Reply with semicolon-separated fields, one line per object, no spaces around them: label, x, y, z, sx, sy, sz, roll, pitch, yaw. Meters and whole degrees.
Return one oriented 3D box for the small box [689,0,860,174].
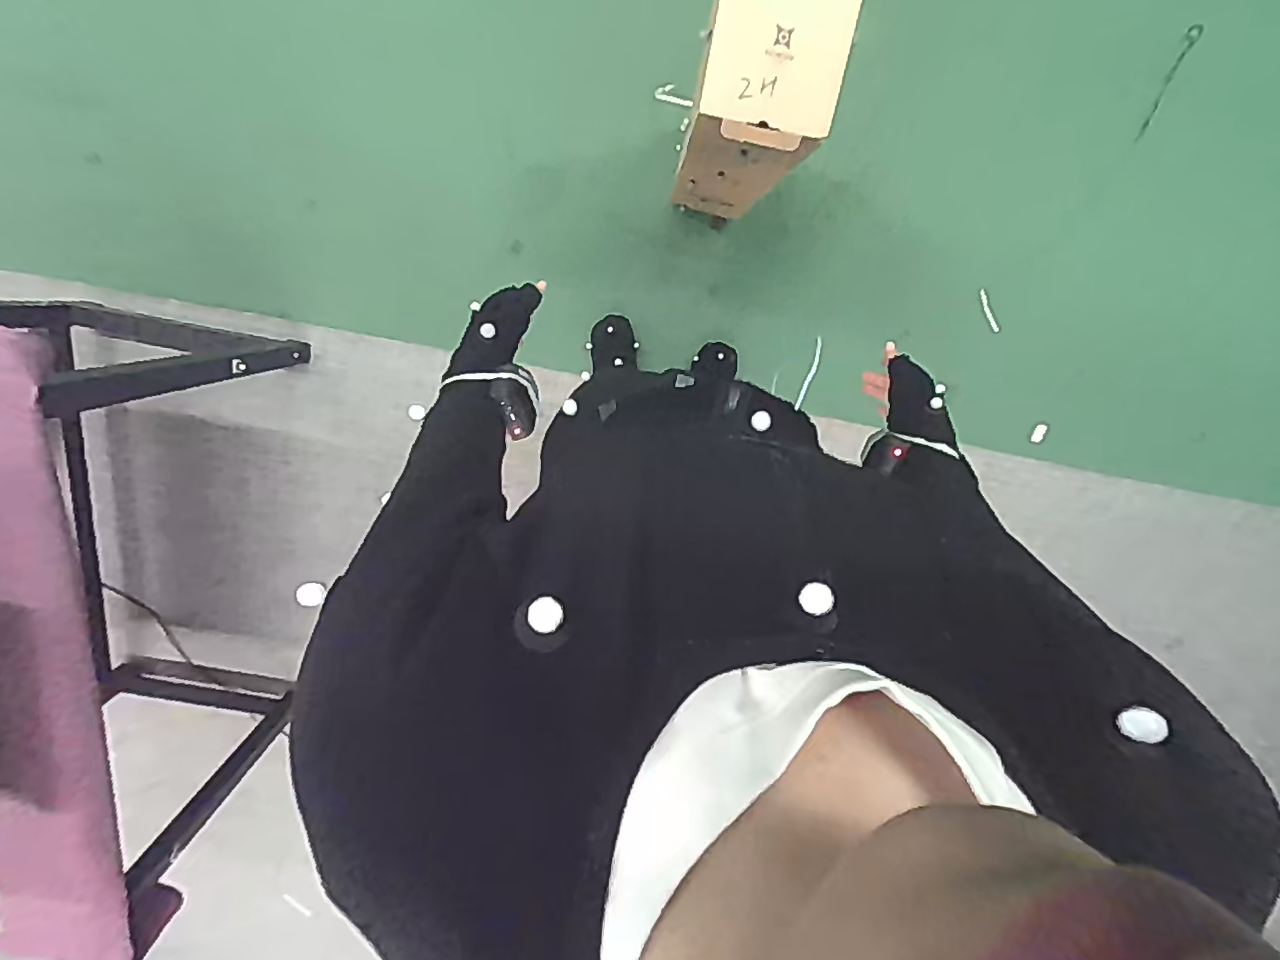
small box;0.165;-0.541;0.726;0.168;0.176;0.179;10;108;-3

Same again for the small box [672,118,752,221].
small box;0.170;-0.691;1.195;0.168;0.176;0.179;13;107;-4

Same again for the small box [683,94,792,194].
small box;0.170;-0.593;0.883;0.168;0.176;0.179;11;108;-4
